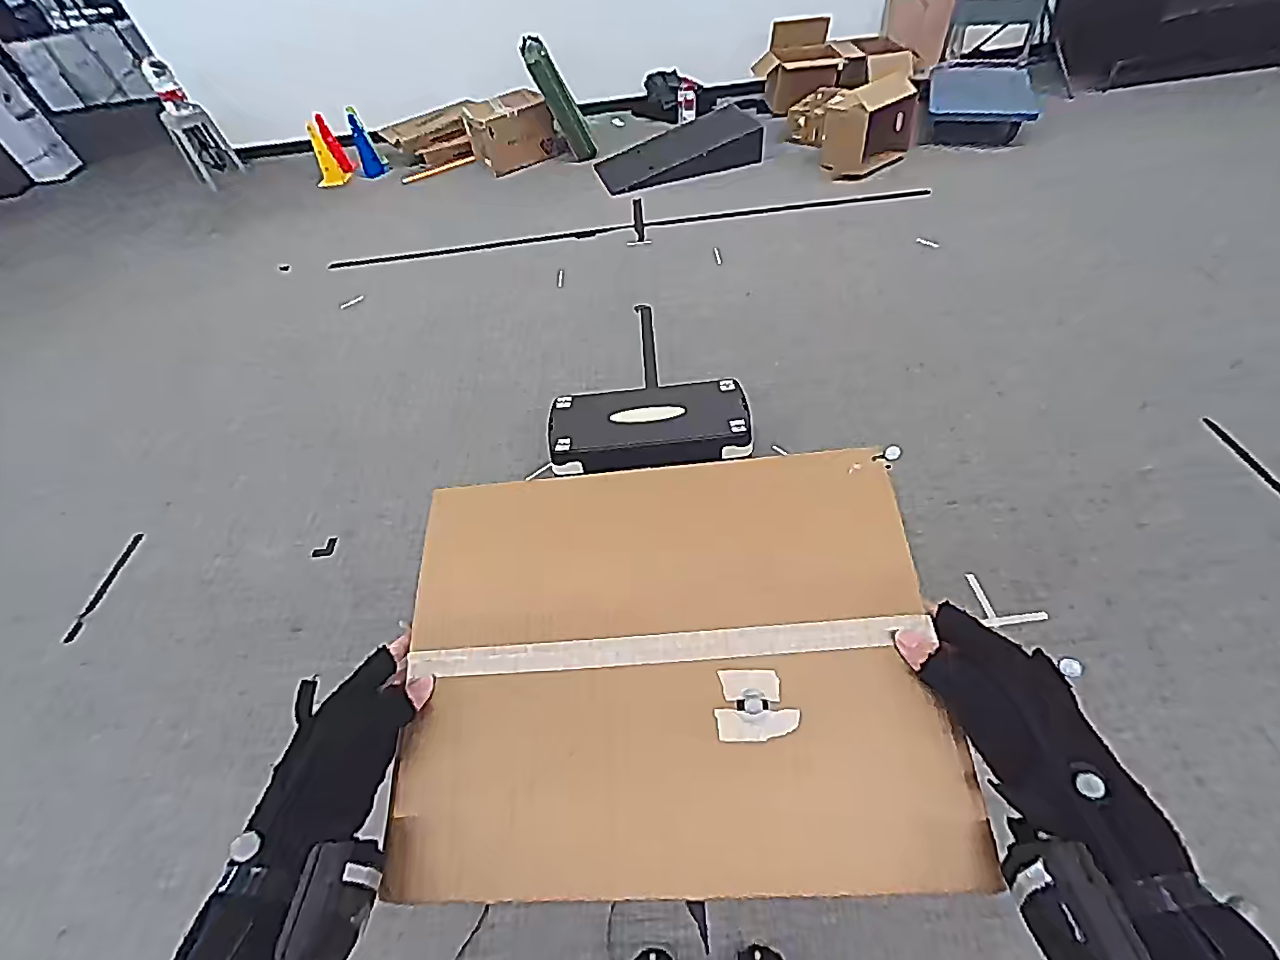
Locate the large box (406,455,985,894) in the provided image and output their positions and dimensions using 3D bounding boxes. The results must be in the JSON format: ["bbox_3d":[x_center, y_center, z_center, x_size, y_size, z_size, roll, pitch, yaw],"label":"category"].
[{"bbox_3d":[0.038,0.201,0.563,0.408,0.320,0.320,-6,63,6],"label":"large box"}]

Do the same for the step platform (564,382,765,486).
[{"bbox_3d":[0.082,-0.153,1.868,0.684,0.204,0.286,-6,50,1],"label":"step platform"}]
